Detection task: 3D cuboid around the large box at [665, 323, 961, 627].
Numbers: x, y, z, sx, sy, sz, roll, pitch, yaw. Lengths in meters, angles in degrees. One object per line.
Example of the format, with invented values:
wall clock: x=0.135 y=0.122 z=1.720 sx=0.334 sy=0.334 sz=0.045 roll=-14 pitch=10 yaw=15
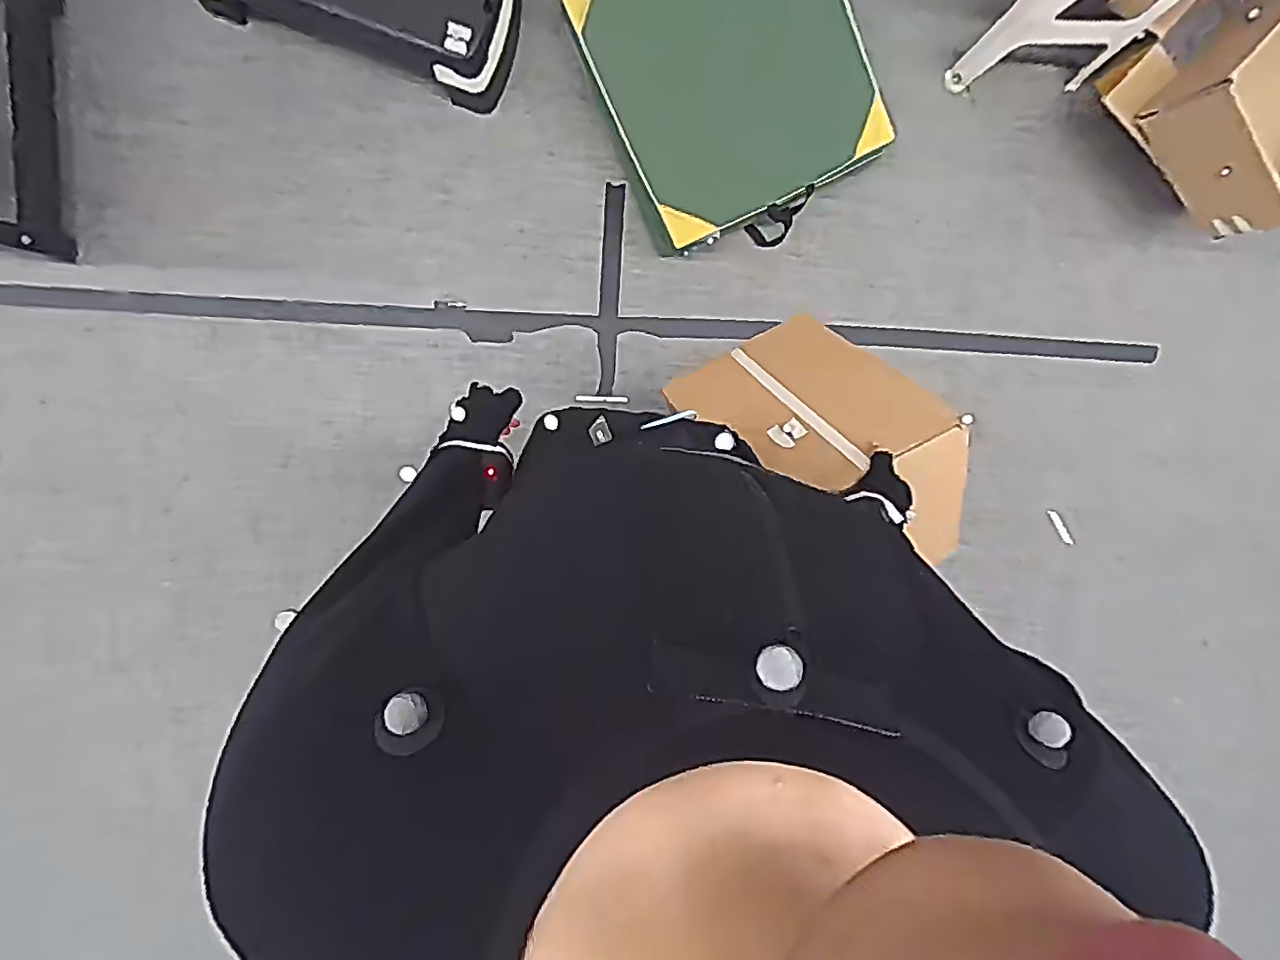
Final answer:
large box: x=0.294 y=-0.020 z=0.991 sx=0.320 sy=0.408 sz=0.320 roll=-28 pitch=133 yaw=-1
